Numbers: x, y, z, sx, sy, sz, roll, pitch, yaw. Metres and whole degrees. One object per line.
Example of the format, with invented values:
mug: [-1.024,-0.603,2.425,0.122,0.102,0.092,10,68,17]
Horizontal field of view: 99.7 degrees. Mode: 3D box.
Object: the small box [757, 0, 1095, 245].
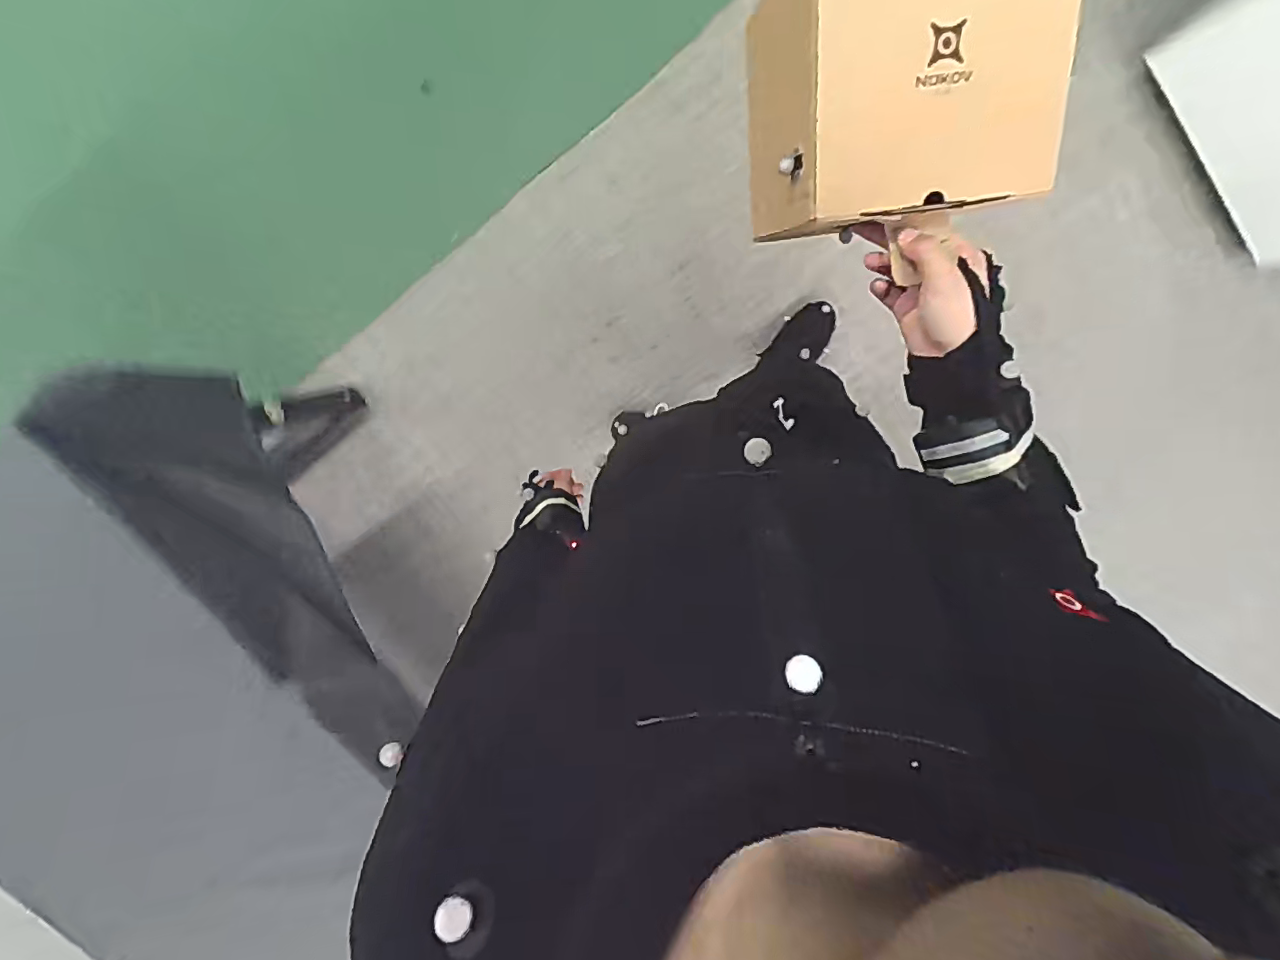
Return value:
small box: [0.191,-0.285,0.408,0.168,0.176,0.179,-7,111,-2]
